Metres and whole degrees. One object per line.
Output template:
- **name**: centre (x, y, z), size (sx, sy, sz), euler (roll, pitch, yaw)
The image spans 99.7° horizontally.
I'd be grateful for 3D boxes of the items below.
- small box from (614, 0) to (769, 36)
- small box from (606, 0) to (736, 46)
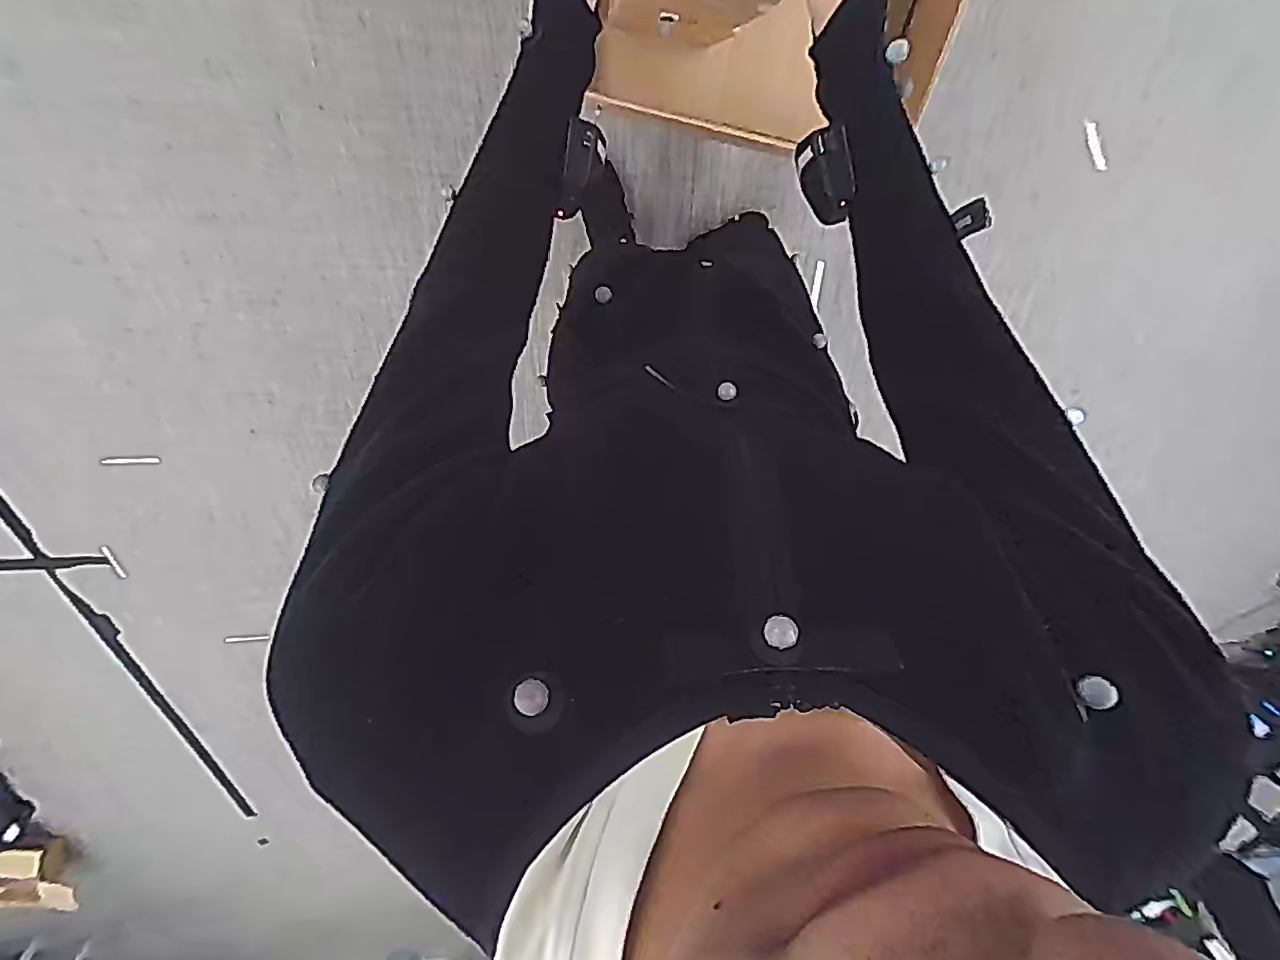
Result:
- **small box**: centre (0.061, -0.643, 0.620), size (0.168, 0.176, 0.179), euler (1, 123, -9)
- **small box**: centre (0.049, -0.731, 0.757), size (0.179, 0.176, 0.168), euler (2, 123, -12)
